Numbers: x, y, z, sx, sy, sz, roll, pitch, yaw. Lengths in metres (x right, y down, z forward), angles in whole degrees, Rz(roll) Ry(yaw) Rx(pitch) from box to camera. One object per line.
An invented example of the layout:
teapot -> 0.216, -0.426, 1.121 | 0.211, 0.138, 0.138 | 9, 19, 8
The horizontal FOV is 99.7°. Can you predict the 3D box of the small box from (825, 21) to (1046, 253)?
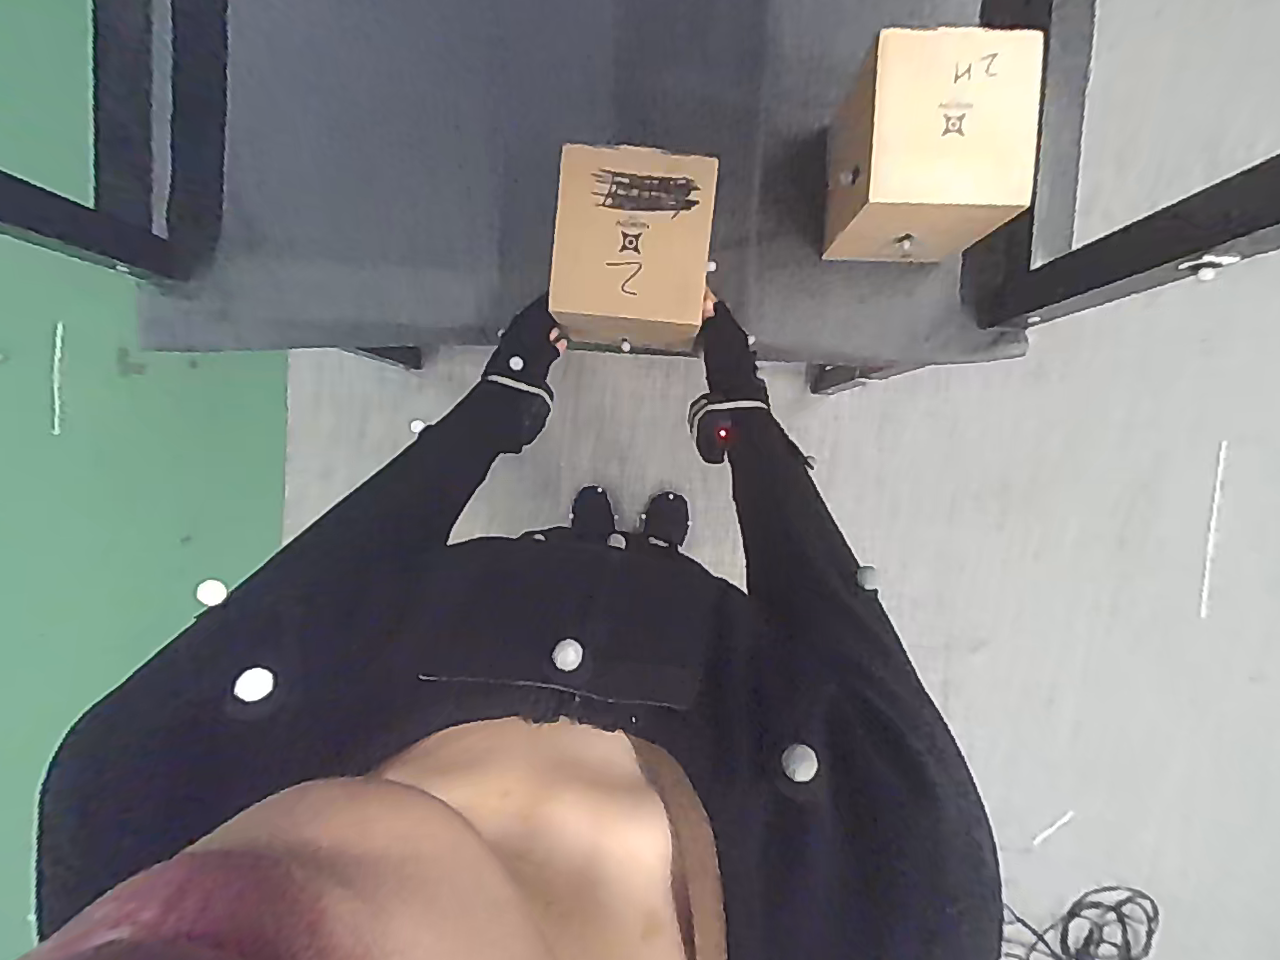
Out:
small box -> 0.325, -0.380, 0.630 | 0.168, 0.176, 0.179 | 2, 93, 1
